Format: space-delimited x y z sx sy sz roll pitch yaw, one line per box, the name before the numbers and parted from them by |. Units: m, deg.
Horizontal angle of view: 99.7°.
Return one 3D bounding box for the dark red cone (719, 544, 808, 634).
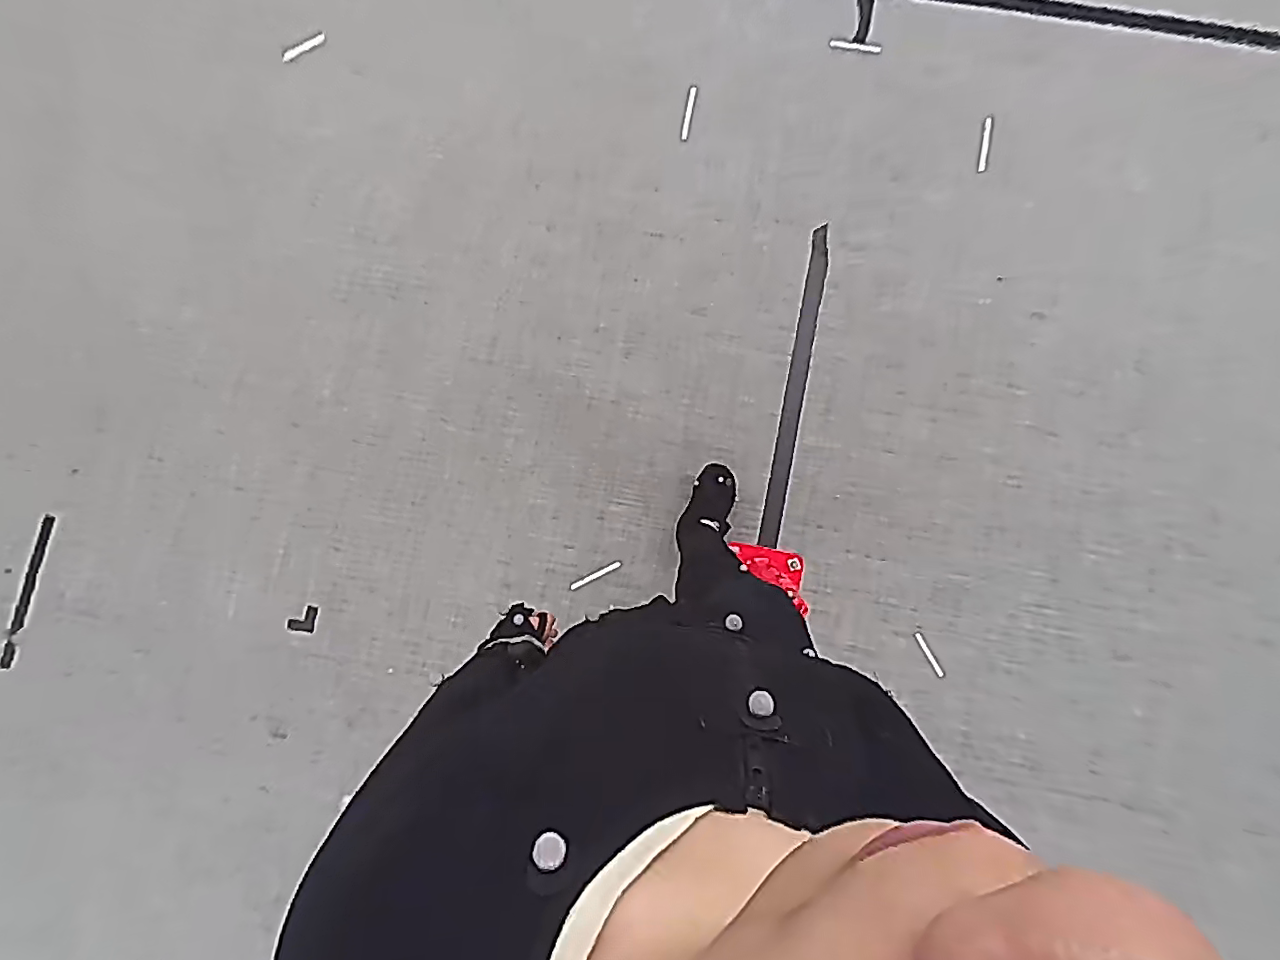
dark red cone | 0.295 0.258 1.168 0.201 0.394 0.202 10 86 3
